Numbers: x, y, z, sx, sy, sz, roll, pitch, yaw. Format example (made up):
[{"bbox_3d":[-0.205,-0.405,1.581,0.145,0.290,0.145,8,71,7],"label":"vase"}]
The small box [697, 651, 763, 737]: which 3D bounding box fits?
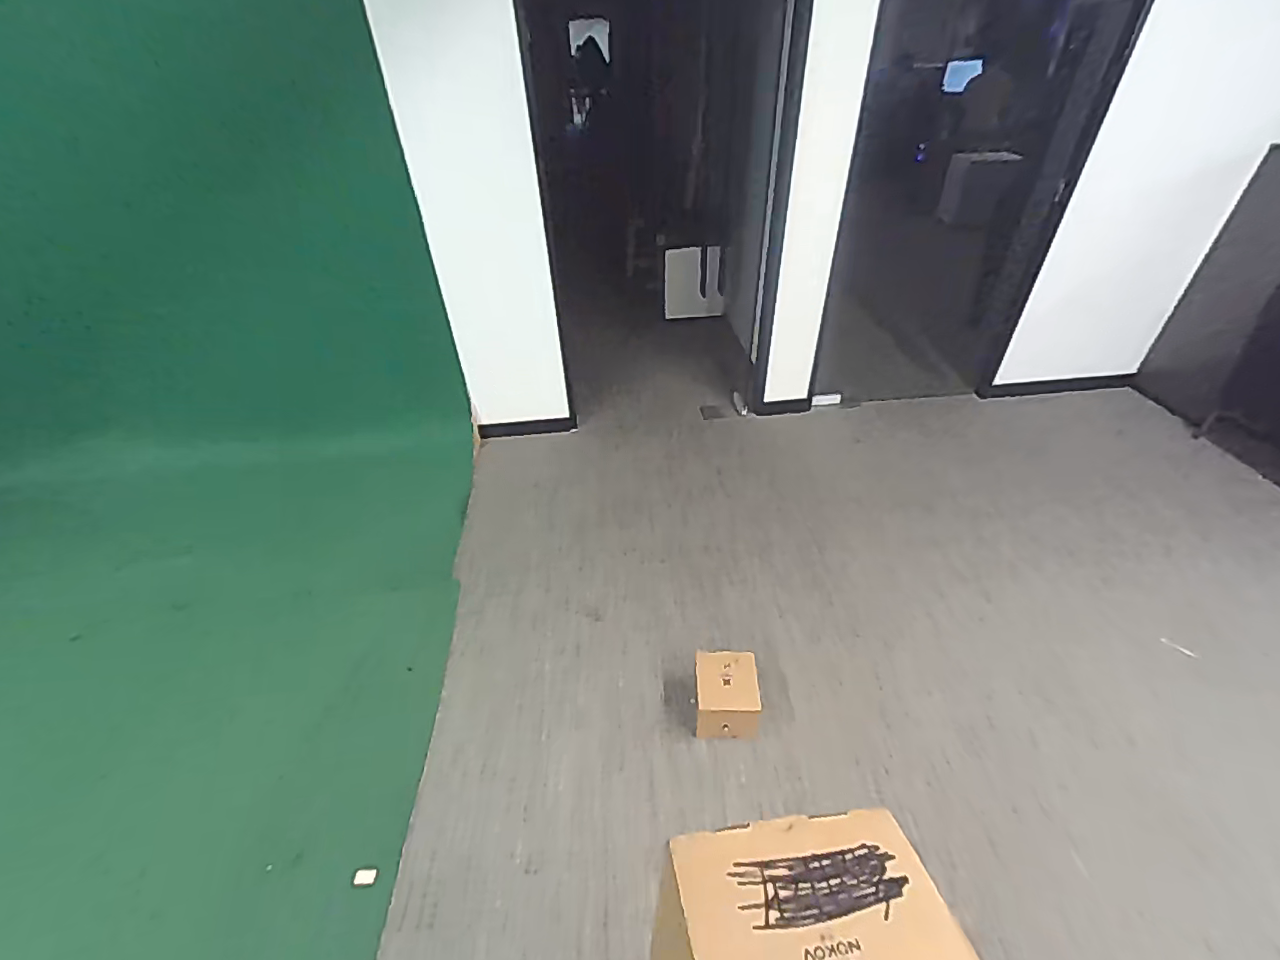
[{"bbox_3d":[0.247,0.602,1.517,0.168,0.176,0.179,0,40,3],"label":"small box"}]
